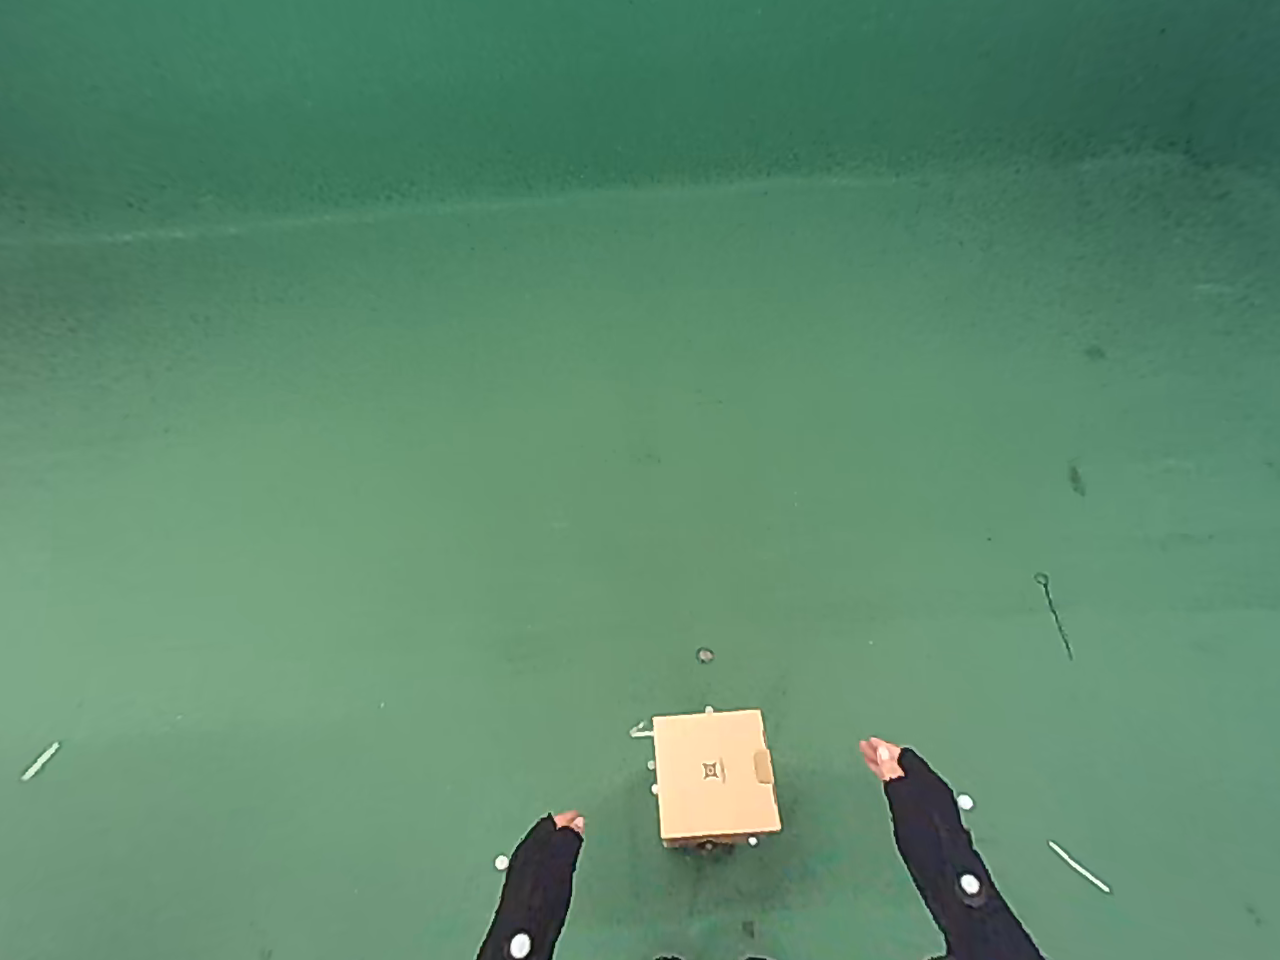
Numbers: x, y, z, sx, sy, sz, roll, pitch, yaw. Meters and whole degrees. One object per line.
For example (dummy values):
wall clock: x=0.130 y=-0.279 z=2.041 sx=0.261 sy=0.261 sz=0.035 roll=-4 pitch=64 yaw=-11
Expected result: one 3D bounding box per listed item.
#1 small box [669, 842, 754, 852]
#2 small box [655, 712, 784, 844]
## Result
small box: x=0.138 y=0.679 z=1.147 sx=0.168 sy=0.176 sz=0.179 roll=-5 pitch=55 yaw=2
small box: x=0.121 y=0.489 z=0.882 sx=0.179 sy=0.176 sz=0.168 roll=-5 pitch=55 yaw=0
